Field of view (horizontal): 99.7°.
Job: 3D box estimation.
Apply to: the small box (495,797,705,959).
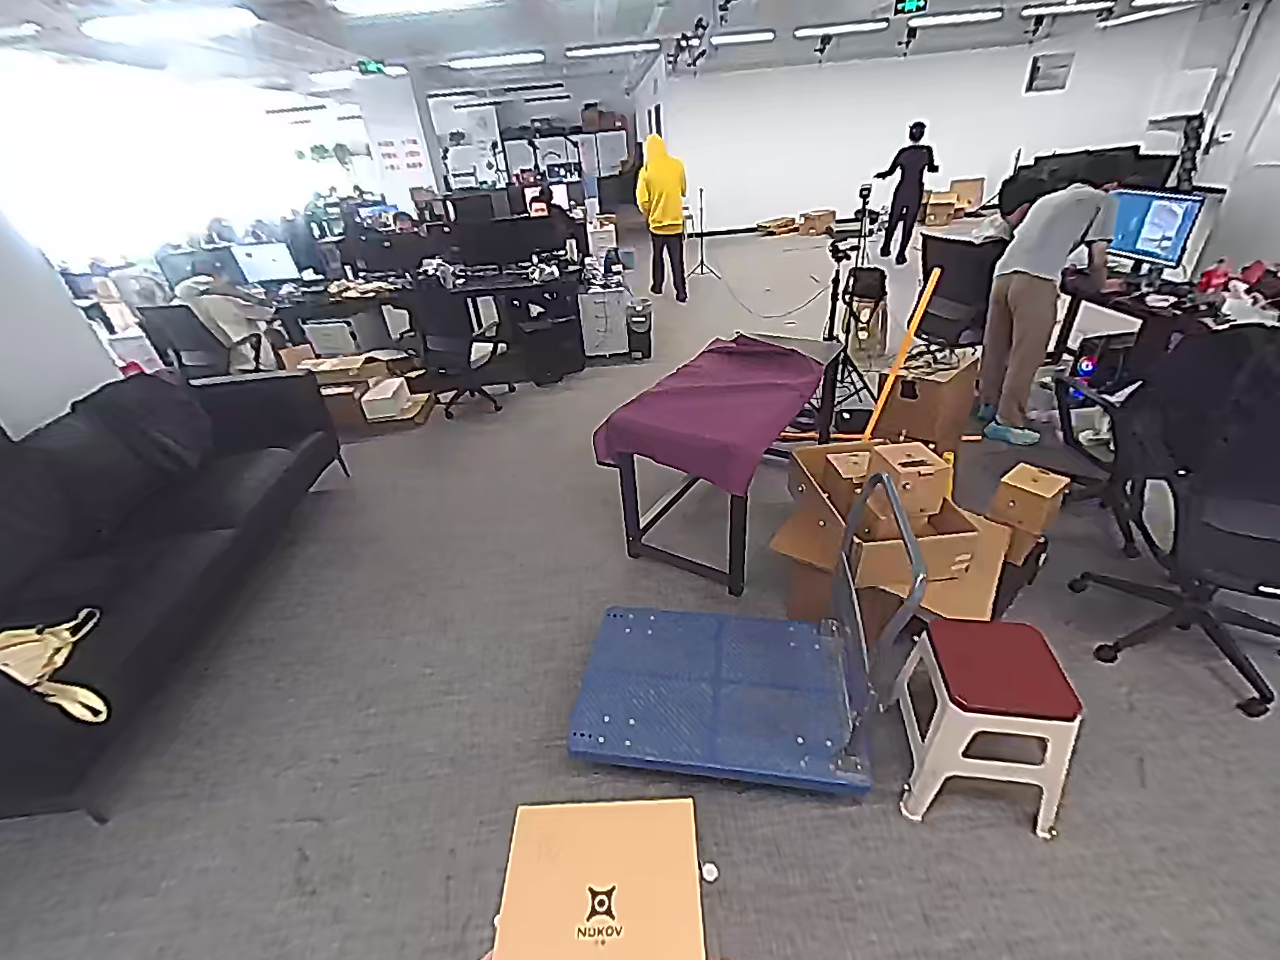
[{"bbox_3d":[-0.026,0.418,0.489,0.168,0.176,0.179,-3,36,3],"label":"small box"}]
